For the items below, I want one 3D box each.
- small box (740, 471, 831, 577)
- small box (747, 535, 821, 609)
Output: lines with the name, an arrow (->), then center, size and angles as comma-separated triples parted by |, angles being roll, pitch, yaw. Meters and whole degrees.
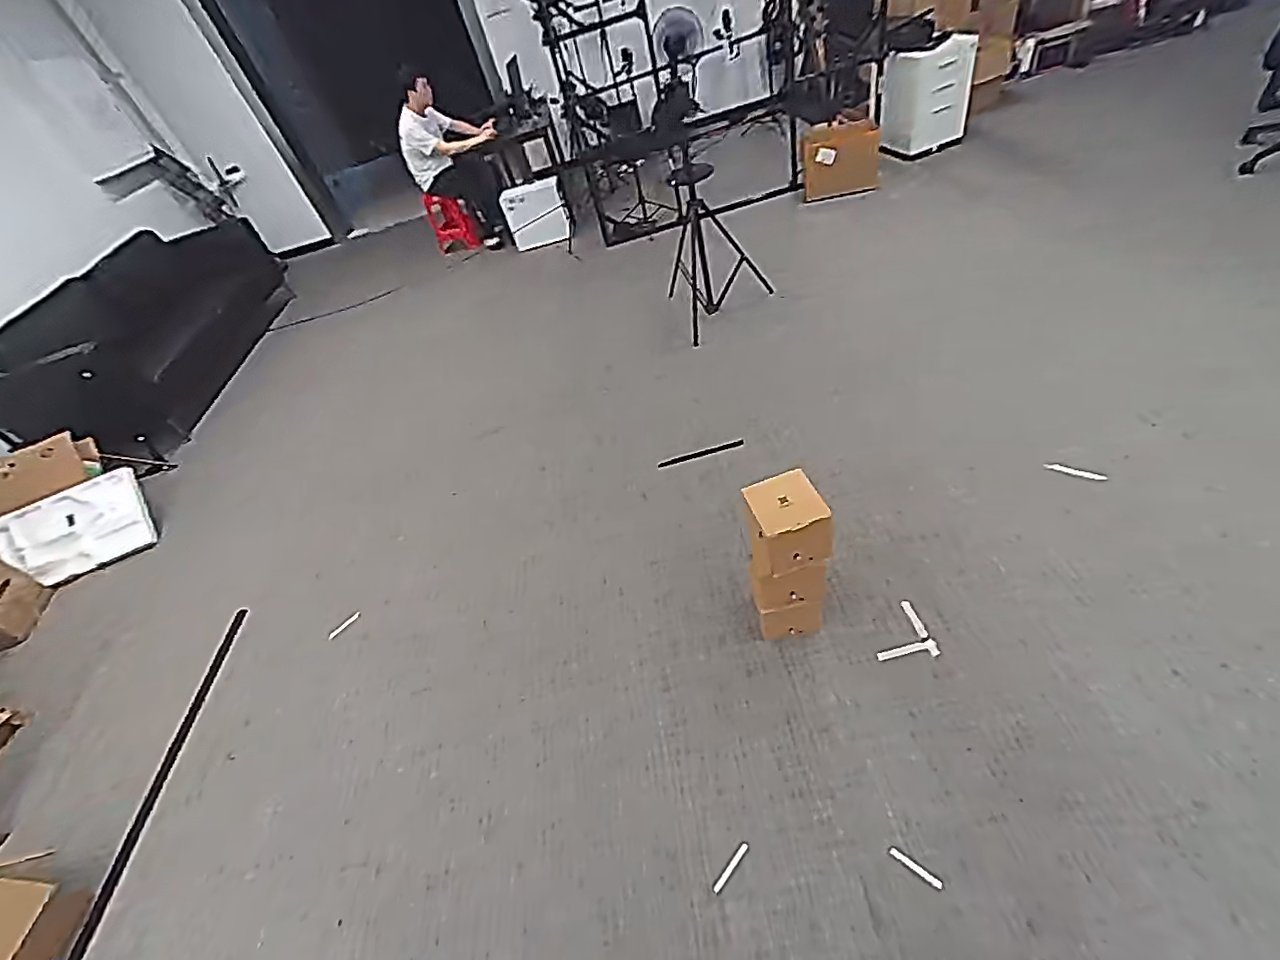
small box -> 0.367, 0.113, 1.375 | 0.168, 0.176, 0.179 | -20, 44, -1
small box -> 0.394, 0.229, 1.487 | 0.168, 0.176, 0.179 | -13, 44, 8
